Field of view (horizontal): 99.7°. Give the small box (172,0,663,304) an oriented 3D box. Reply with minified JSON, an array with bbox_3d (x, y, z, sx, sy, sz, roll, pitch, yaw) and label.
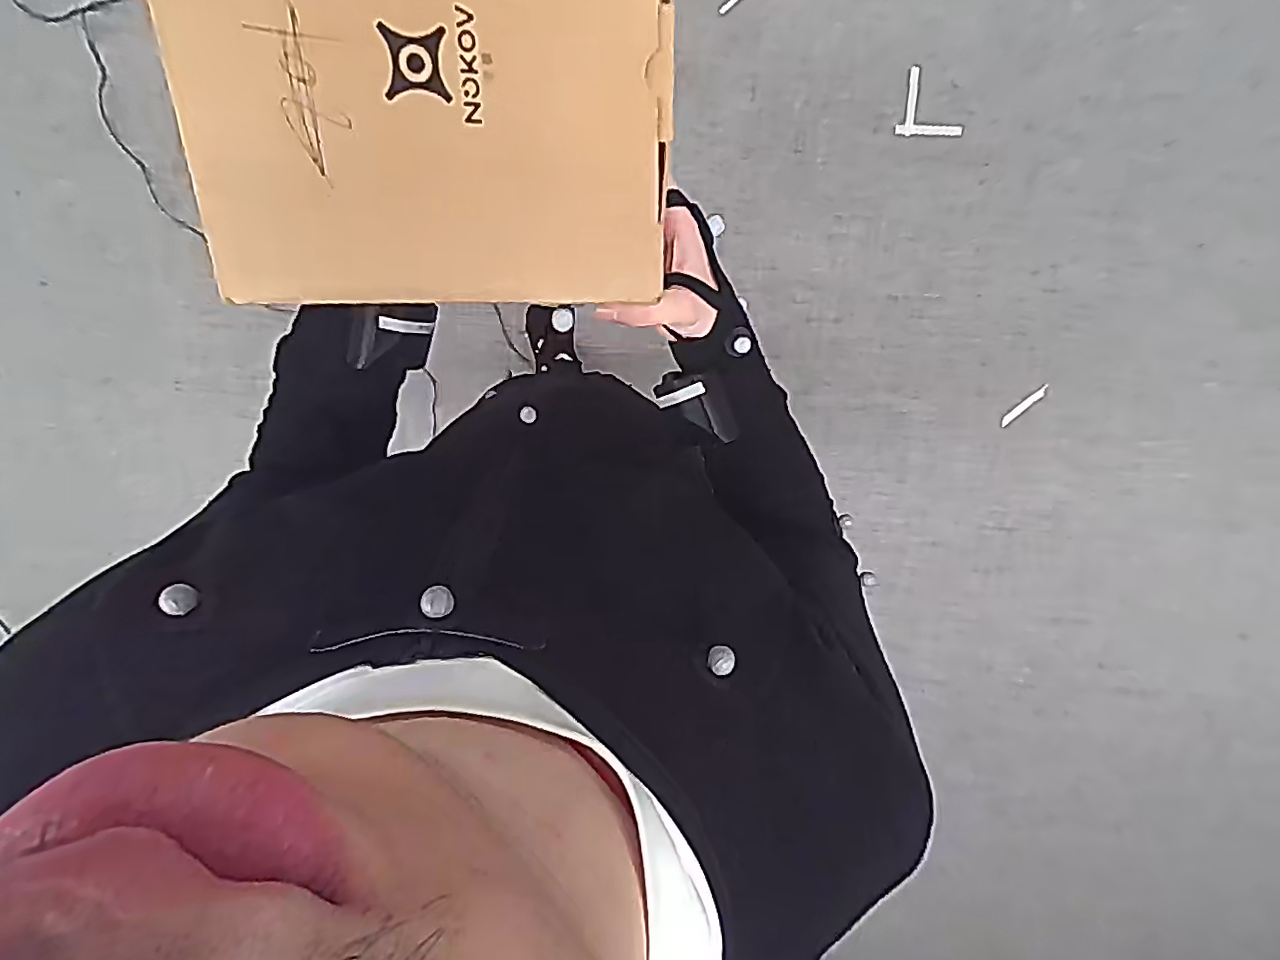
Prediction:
[{"bbox_3d":[-0.088,-0.180,0.280,0.179,0.176,0.168,-3,108,-7],"label":"small box"}]
